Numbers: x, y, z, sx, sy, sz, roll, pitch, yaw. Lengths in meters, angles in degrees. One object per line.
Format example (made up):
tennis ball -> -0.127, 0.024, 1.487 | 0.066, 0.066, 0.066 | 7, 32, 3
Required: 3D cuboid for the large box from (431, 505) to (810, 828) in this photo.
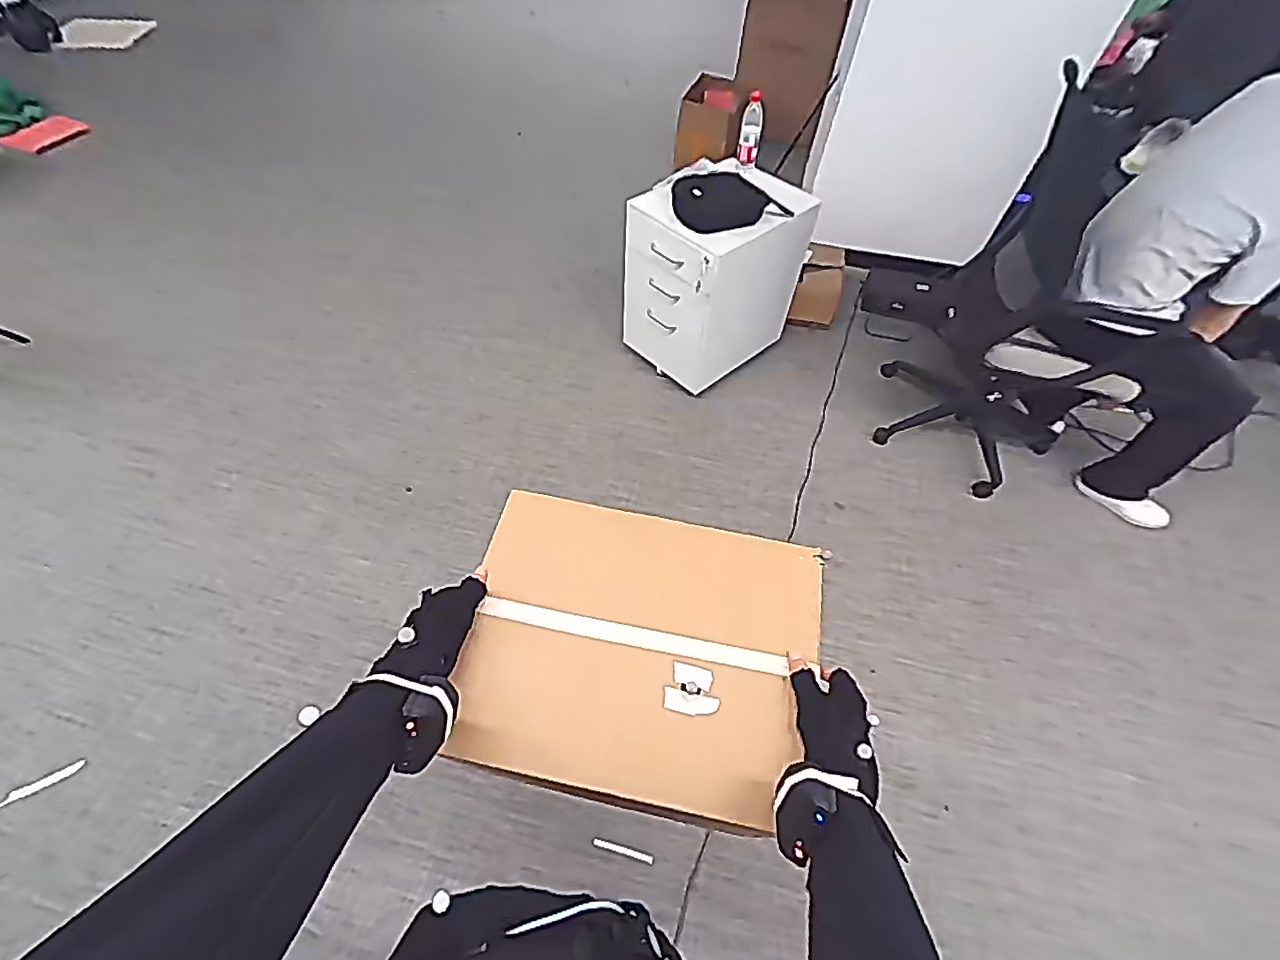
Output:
large box -> -0.009, 0.270, 0.757 | 0.408, 0.320, 0.320 | 11, 59, 3
